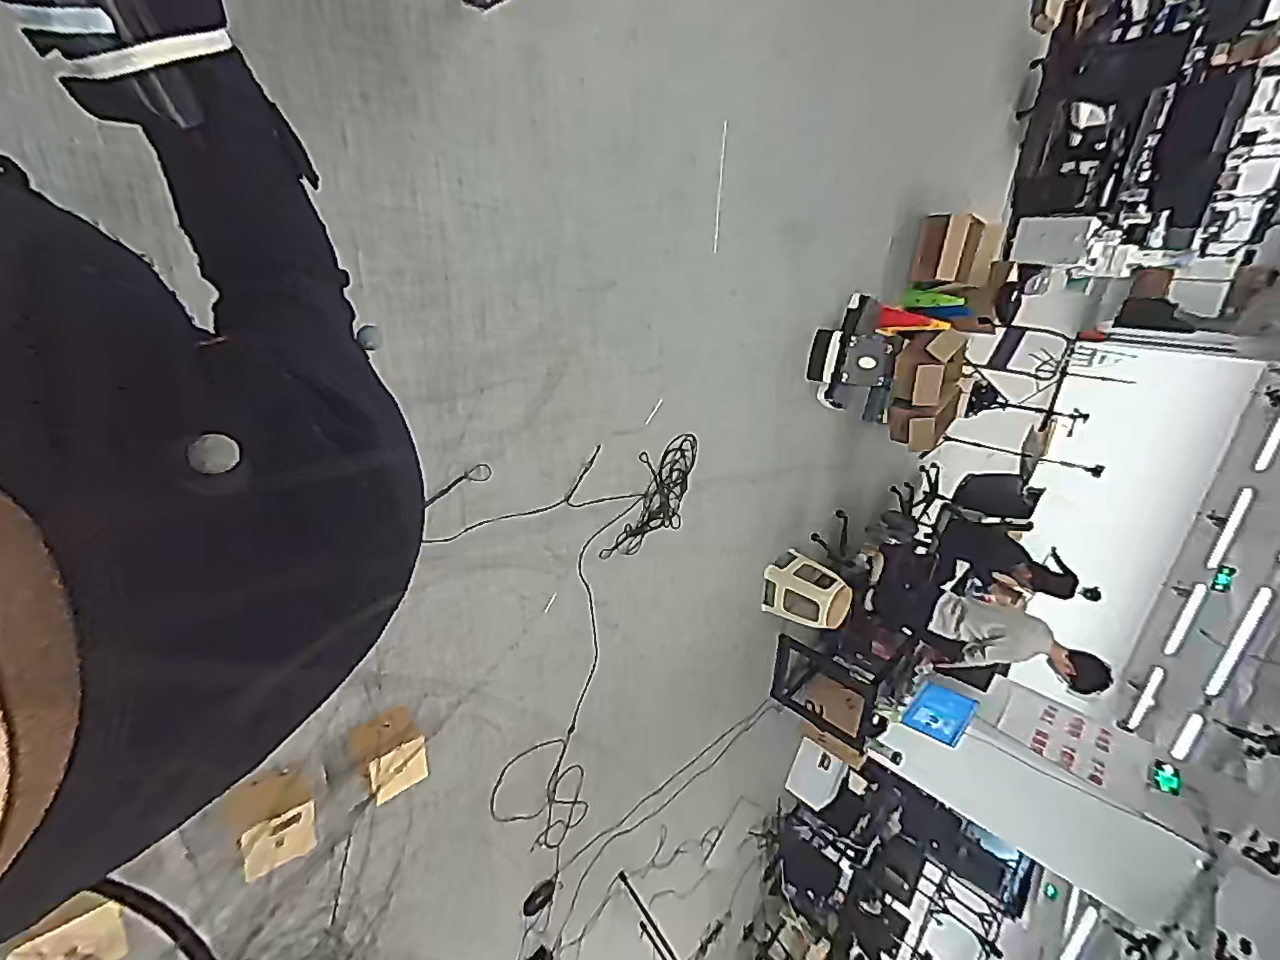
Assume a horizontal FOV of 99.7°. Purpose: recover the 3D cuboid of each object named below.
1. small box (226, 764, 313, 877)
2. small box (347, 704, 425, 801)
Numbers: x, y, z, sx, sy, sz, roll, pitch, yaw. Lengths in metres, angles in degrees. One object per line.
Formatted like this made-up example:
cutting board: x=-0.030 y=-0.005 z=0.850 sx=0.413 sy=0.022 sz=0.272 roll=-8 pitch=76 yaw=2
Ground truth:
small box: x=-1.018 y=0.920 z=1.487 sx=0.168 sy=0.176 sz=0.179 roll=-9 pitch=114 yaw=-45
small box: x=-0.798 y=0.849 z=1.700 sx=0.168 sy=0.176 sz=0.179 roll=-17 pitch=119 yaw=-43
